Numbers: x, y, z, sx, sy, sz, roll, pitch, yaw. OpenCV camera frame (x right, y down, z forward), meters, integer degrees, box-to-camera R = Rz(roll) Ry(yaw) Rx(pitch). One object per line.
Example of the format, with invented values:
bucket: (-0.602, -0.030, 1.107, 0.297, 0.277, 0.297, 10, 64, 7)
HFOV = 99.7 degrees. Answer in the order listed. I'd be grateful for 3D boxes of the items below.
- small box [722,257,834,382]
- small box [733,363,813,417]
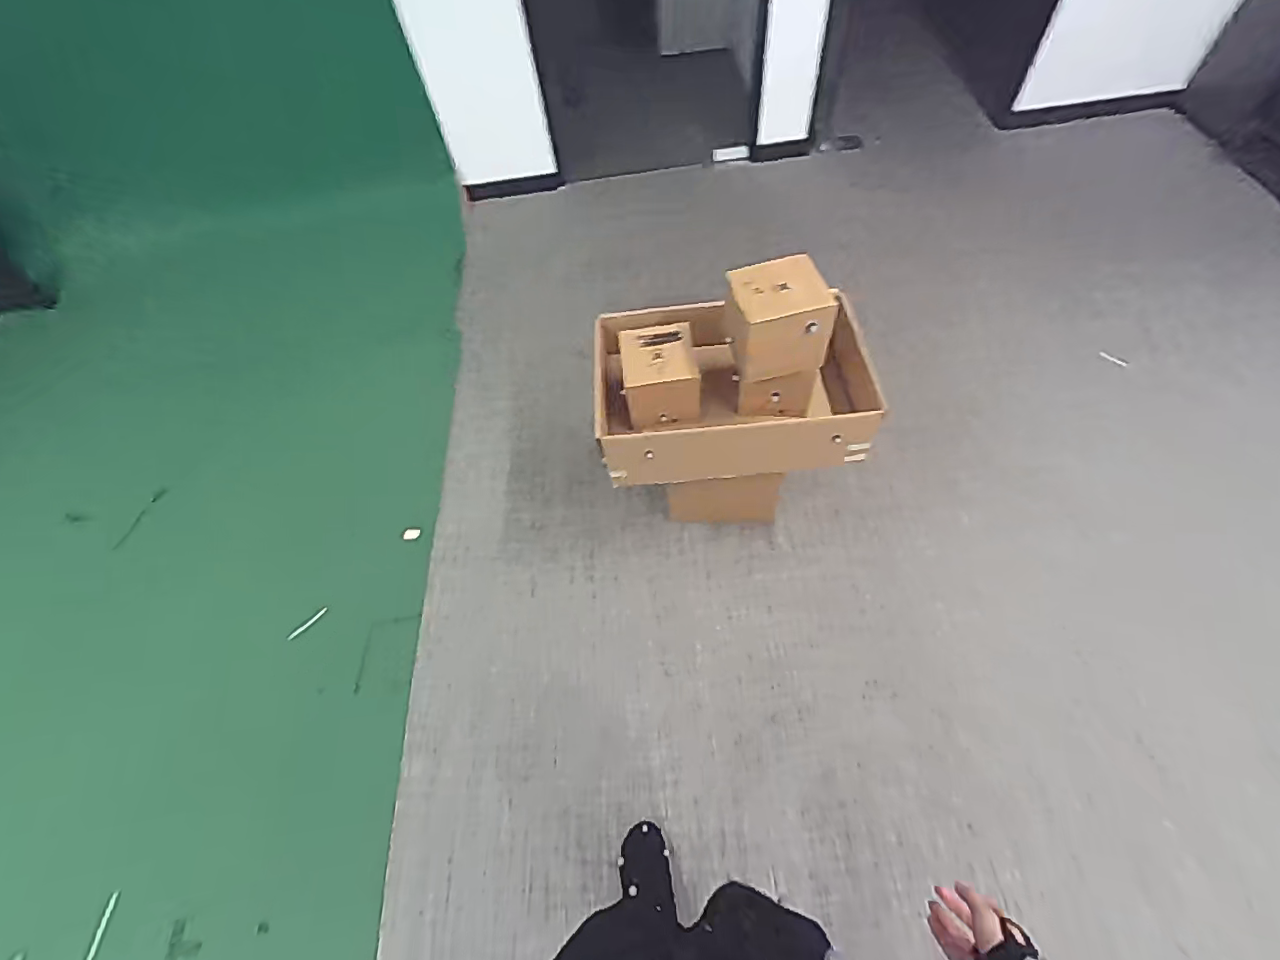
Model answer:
small box: (0.276, -0.330, 1.127, 0.179, 0.176, 0.168, -13, 57, -1)
small box: (0.310, -0.265, 1.277, 0.168, 0.176, 0.179, 4, 60, 7)
